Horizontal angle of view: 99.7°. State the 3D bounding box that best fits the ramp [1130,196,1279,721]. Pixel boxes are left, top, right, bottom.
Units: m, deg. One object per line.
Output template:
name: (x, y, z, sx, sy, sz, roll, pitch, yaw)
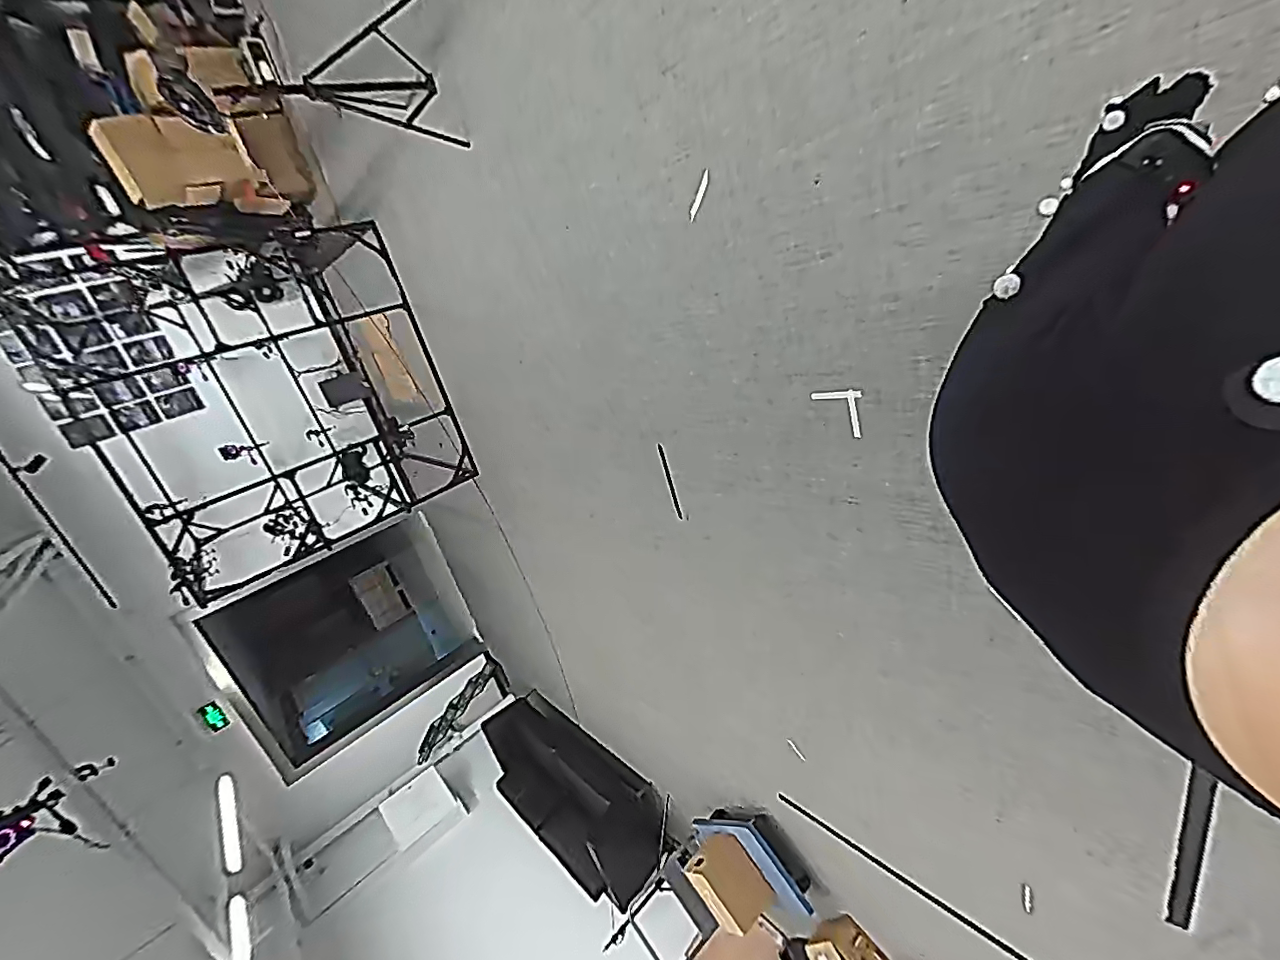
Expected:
ramp: (1.227, 0.005, 0.956, 0.509, 0.206, 0.991, 8, 121, 52)
